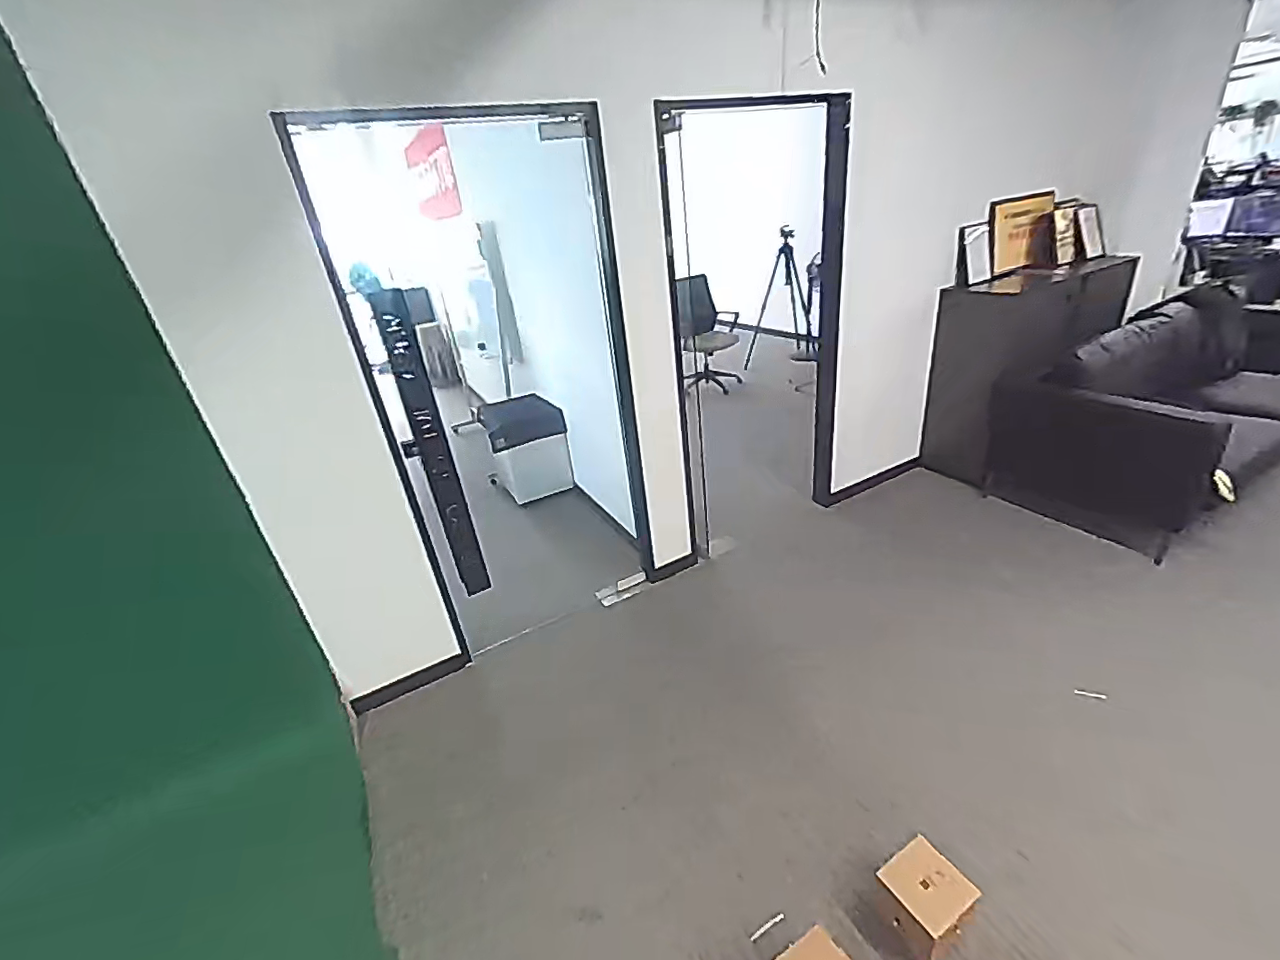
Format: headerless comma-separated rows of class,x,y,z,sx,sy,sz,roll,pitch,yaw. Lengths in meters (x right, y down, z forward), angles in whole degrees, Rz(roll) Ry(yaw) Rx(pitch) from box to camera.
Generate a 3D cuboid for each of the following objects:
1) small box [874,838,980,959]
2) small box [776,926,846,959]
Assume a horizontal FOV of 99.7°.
small box,0.705,1.057,1.345,0.179,0.176,0.168,-19,29,-23
small box,0.395,1.167,1.204,0.179,0.176,0.168,-19,28,-22
